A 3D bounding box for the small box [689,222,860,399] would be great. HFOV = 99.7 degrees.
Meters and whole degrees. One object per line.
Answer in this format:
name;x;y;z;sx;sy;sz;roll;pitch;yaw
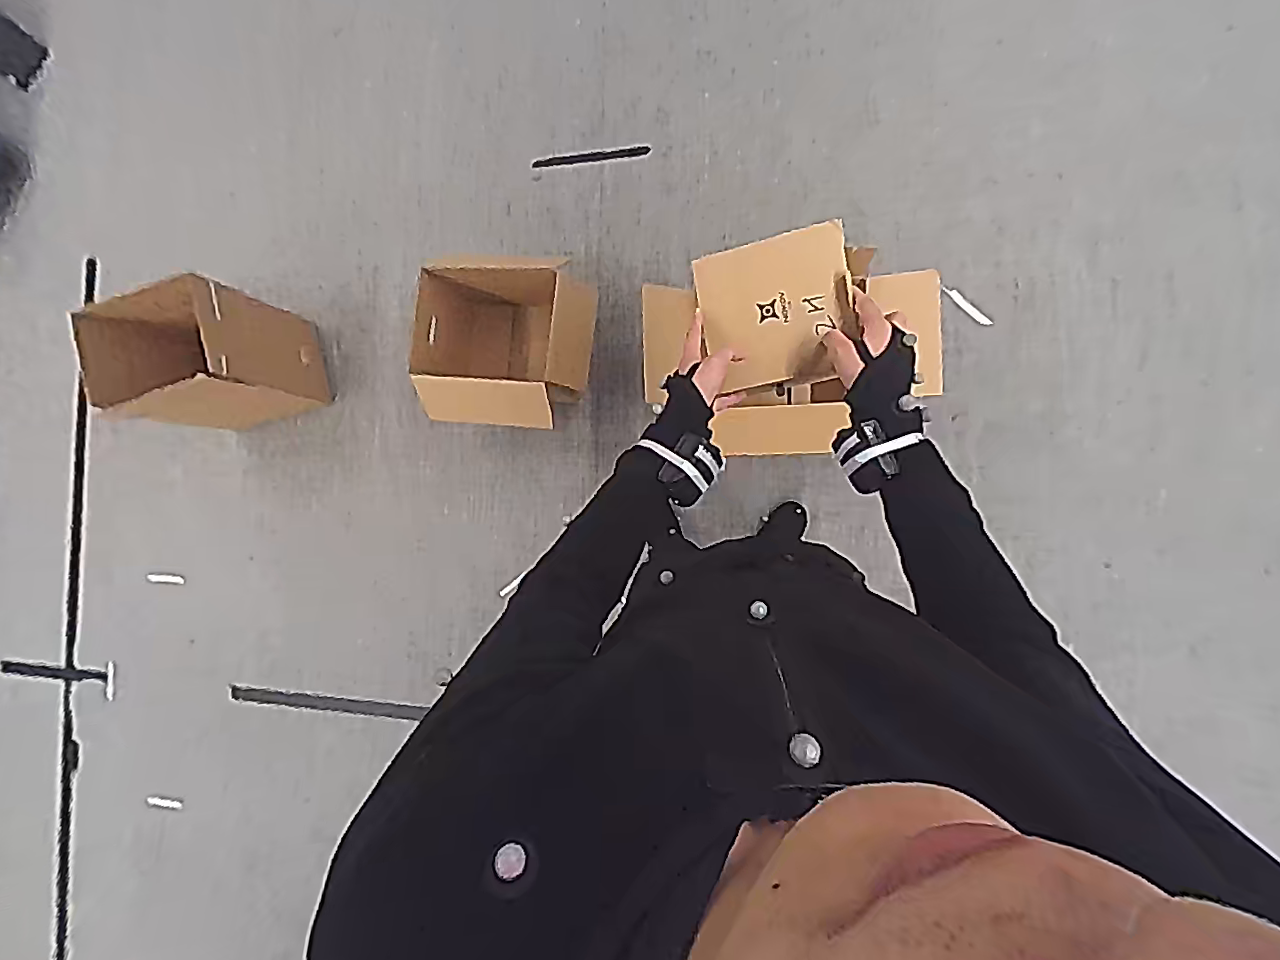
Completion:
small box;0.176;-0.203;0.706;0.179;0.176;0.168;-10;94;16
